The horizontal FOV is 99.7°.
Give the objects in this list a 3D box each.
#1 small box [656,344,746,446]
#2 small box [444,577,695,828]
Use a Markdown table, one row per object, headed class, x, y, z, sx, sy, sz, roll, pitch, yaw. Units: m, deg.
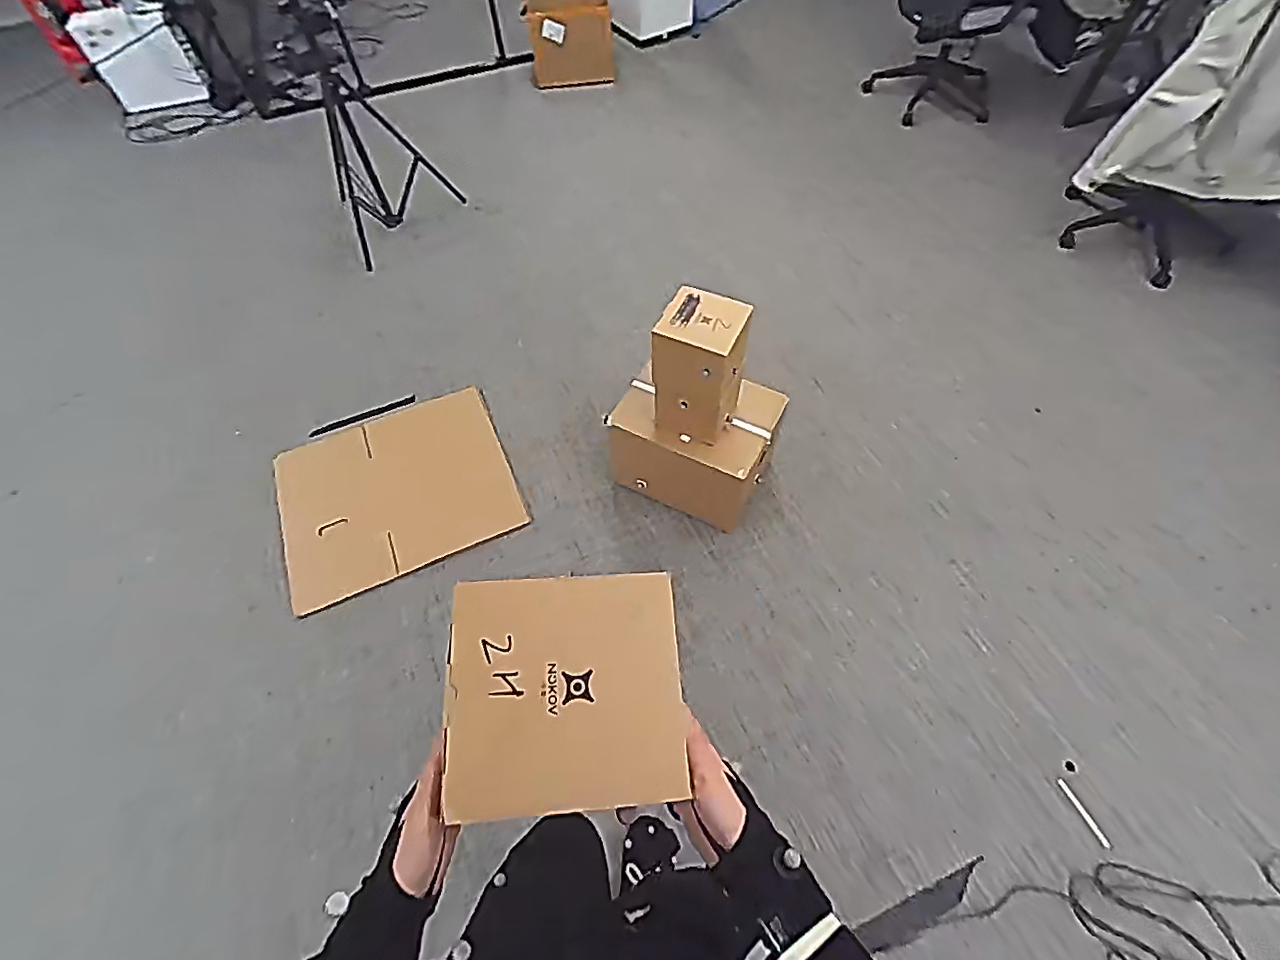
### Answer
| class | x | y | z | sx | sy | sz | roll | pitch | yaw |
| --- | --- | --- | --- | --- | --- | --- | --- | --- | --- |
| small box | 0.151 | -0.212 | 1.383 | 0.179 | 0.176 | 0.168 | 22 | 63 | 14 |
| small box | -0.061 | 0.185 | 0.475 | 0.179 | 0.176 | 0.168 | -2 | 68 | -7 |
